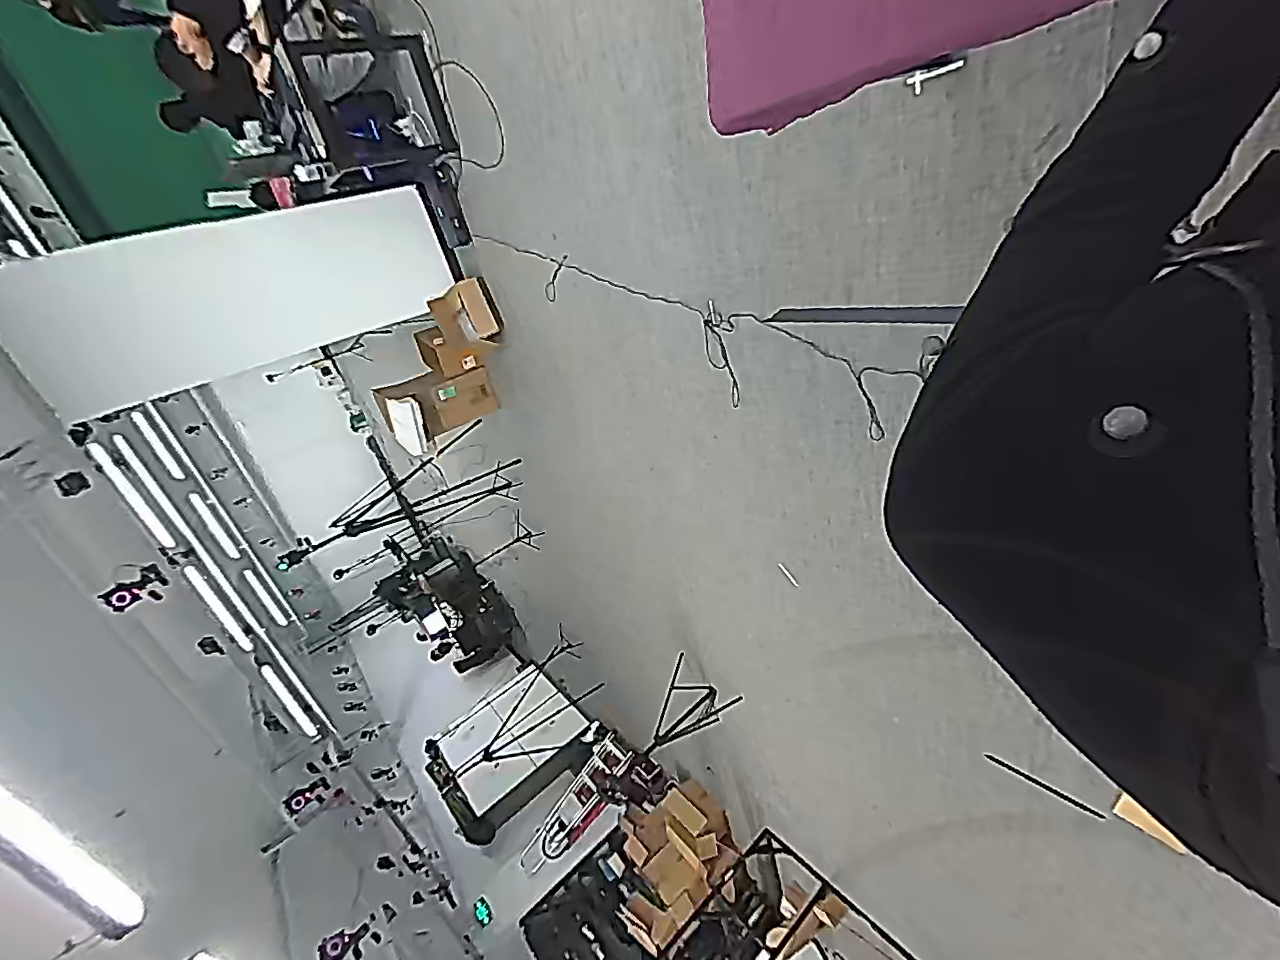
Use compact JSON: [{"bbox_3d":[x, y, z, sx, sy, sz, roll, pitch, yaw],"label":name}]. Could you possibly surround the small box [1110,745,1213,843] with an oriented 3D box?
[{"bbox_3d":[1.615,0.960,1.677,0.179,0.176,0.168,26,138,43],"label":"small box"}]
